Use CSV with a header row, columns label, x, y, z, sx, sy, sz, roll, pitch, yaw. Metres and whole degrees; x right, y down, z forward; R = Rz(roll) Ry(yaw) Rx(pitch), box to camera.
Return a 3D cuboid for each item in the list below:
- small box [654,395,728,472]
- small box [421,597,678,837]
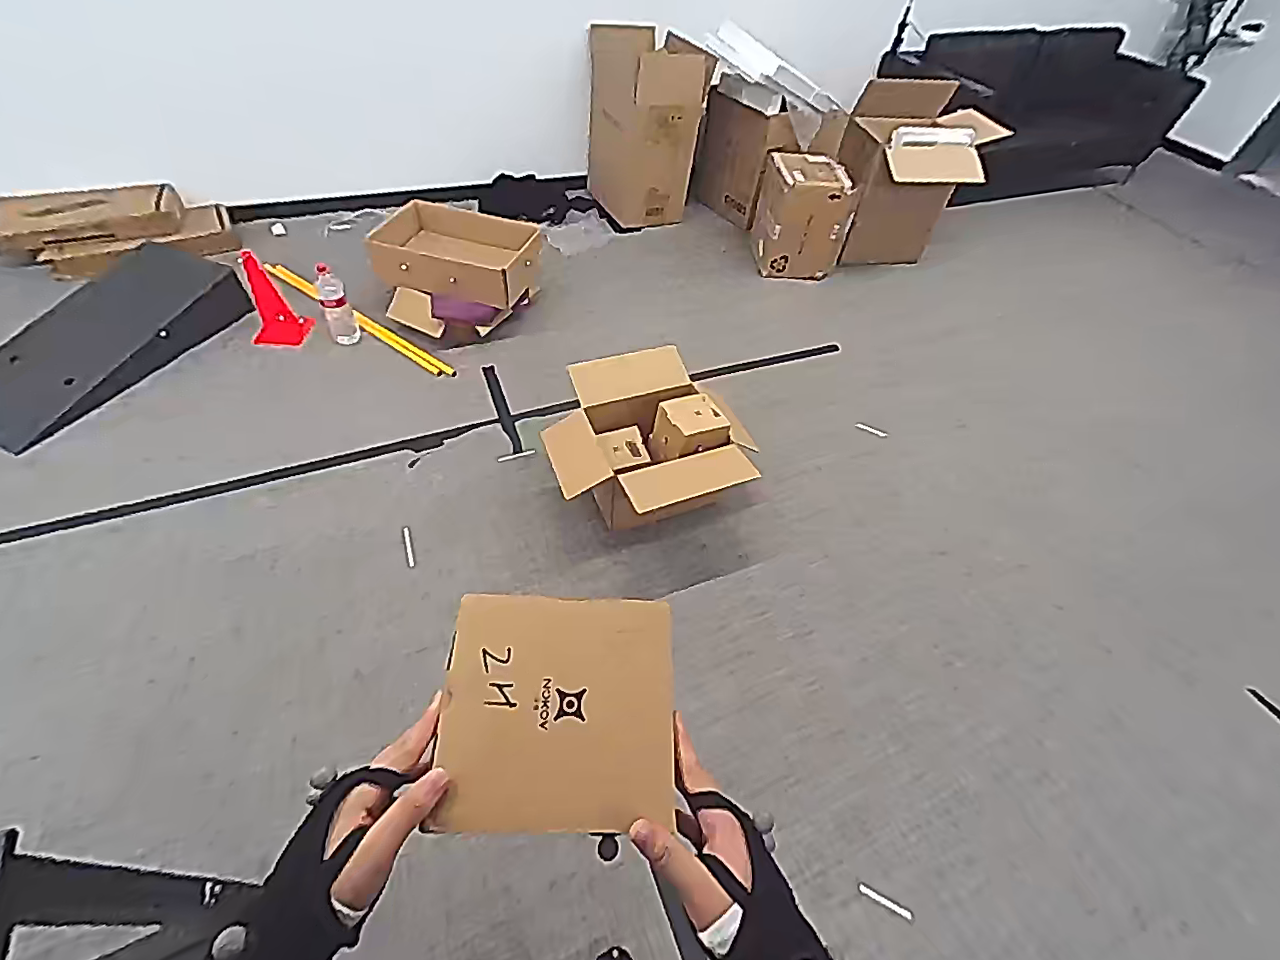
label,x,y,z,sx,sy,sz,roll,pitch,yaw
small box,0.157,-0.147,1.754,0.179,0.176,0.168,-16,52,-22
small box,-0.068,0.212,0.476,0.179,0.176,0.168,3,58,-4
